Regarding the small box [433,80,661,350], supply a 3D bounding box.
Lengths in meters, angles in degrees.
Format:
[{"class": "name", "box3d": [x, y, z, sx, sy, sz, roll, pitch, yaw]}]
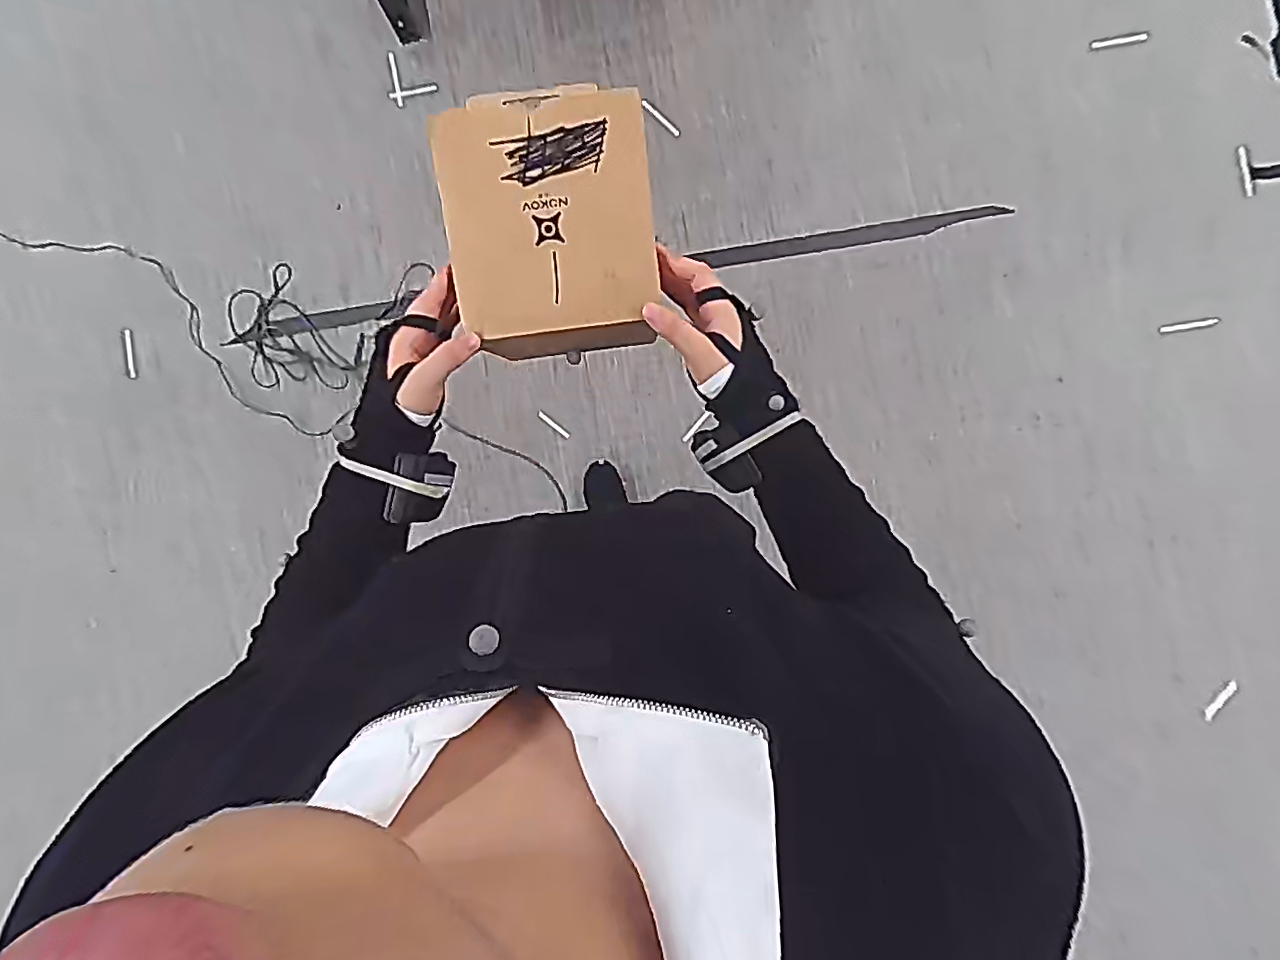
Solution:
[{"class": "small box", "box3d": [-0.074, -0.228, 0.510, 0.168, 0.176, 0.179, -7, 98, 0]}]

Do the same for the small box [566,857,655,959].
[{"class": "small box", "box3d": [-0.059, 0.974, 1.219, 0.168, 0.176, 0.179, -12, 89, 0]}]
